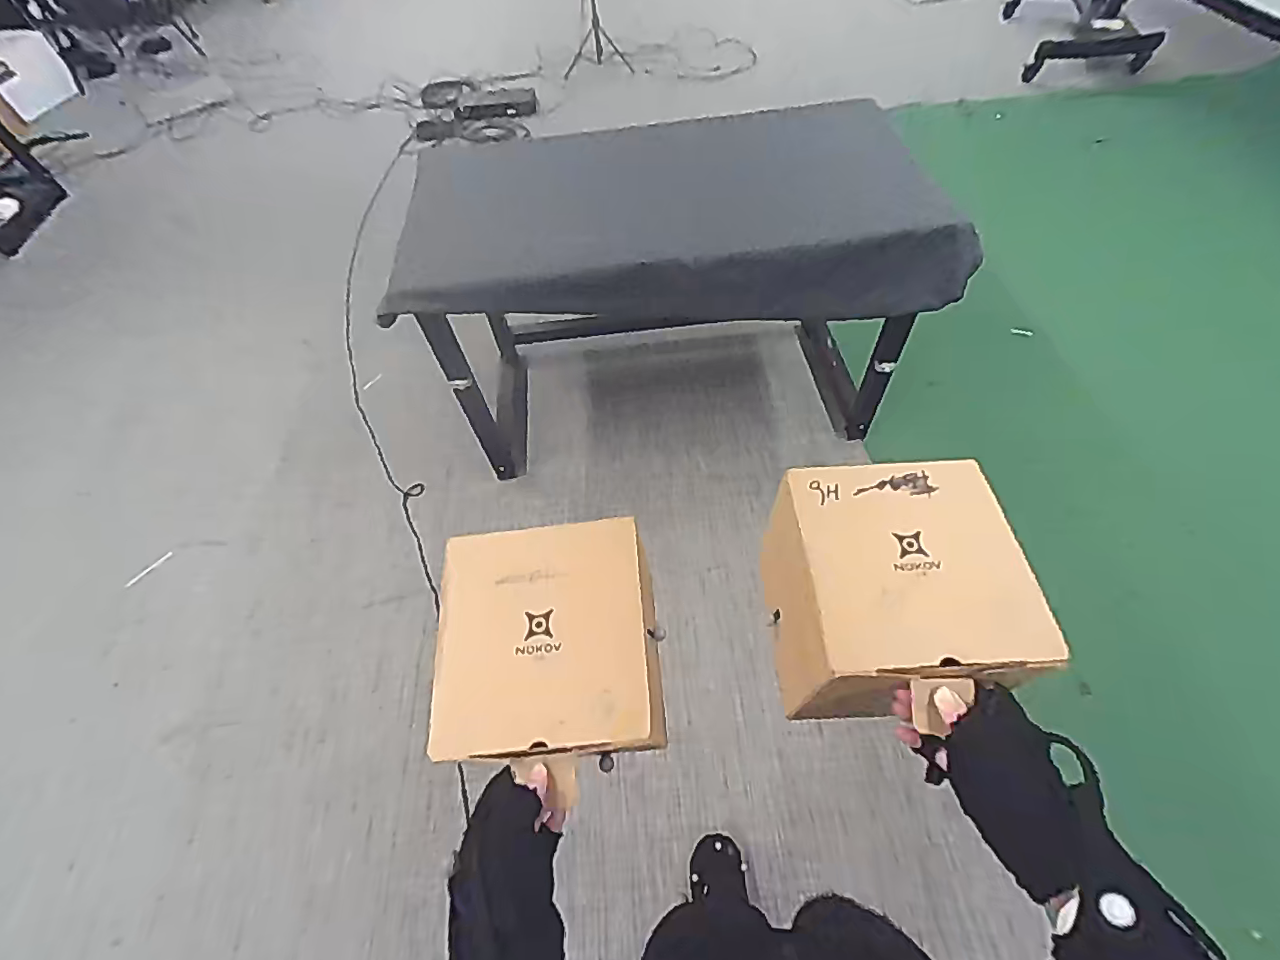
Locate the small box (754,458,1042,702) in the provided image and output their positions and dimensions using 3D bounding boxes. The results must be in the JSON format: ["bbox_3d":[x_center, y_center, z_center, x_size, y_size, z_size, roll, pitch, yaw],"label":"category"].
[{"bbox_3d":[0.207,0.101,0.496,0.168,0.176,0.179,-3,58,0],"label":"small box"}]

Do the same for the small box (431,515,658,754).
[{"bbox_3d":[-0.075,0.152,0.507,0.168,0.176,0.179,-7,62,2],"label":"small box"}]
